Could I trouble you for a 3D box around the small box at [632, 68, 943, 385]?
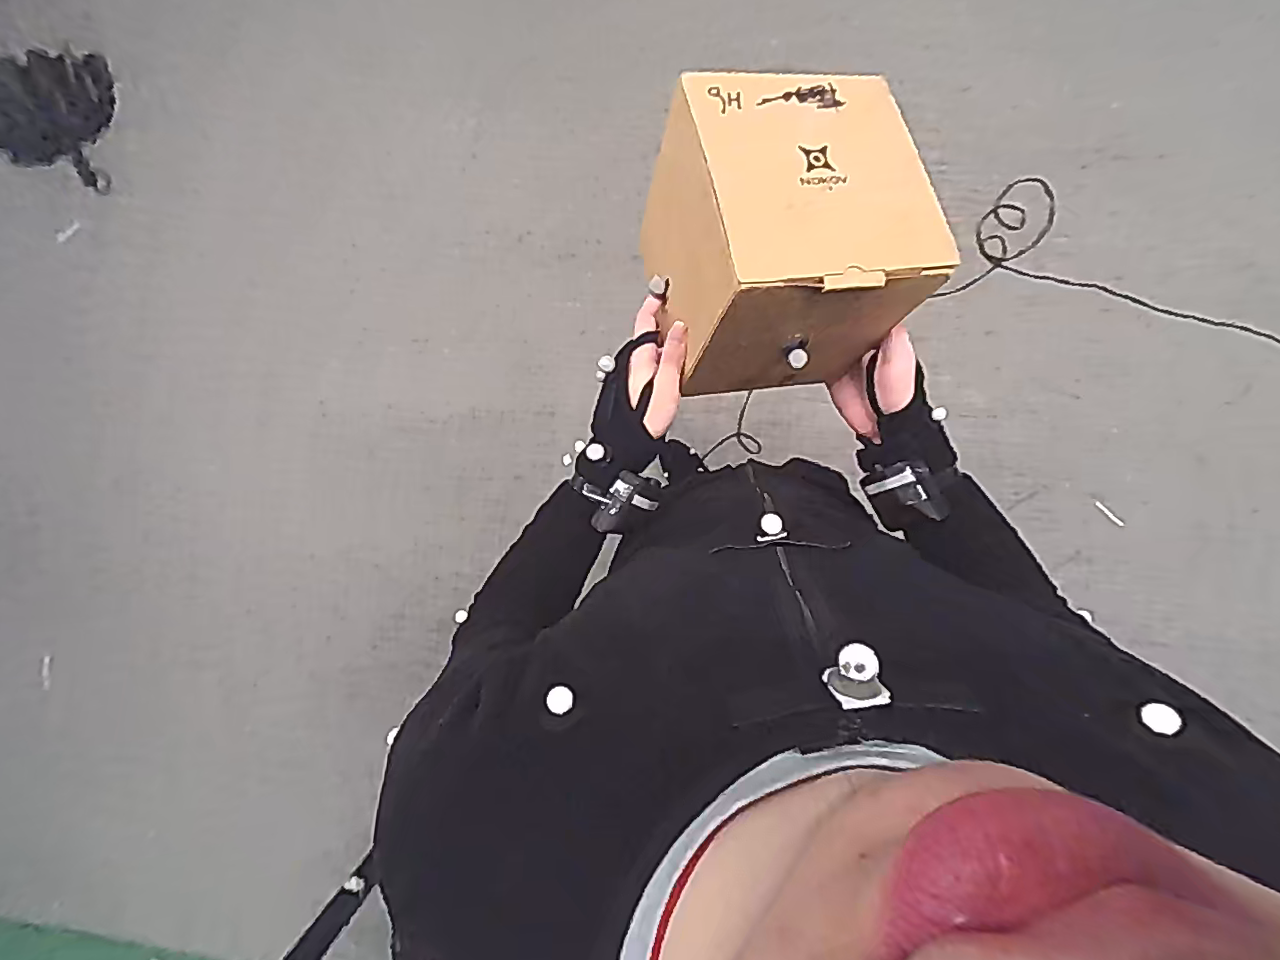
[{"bbox_3d":[0.098,-0.188,0.444,0.168,0.176,0.179,-8,76,-14],"label":"small box"}]
